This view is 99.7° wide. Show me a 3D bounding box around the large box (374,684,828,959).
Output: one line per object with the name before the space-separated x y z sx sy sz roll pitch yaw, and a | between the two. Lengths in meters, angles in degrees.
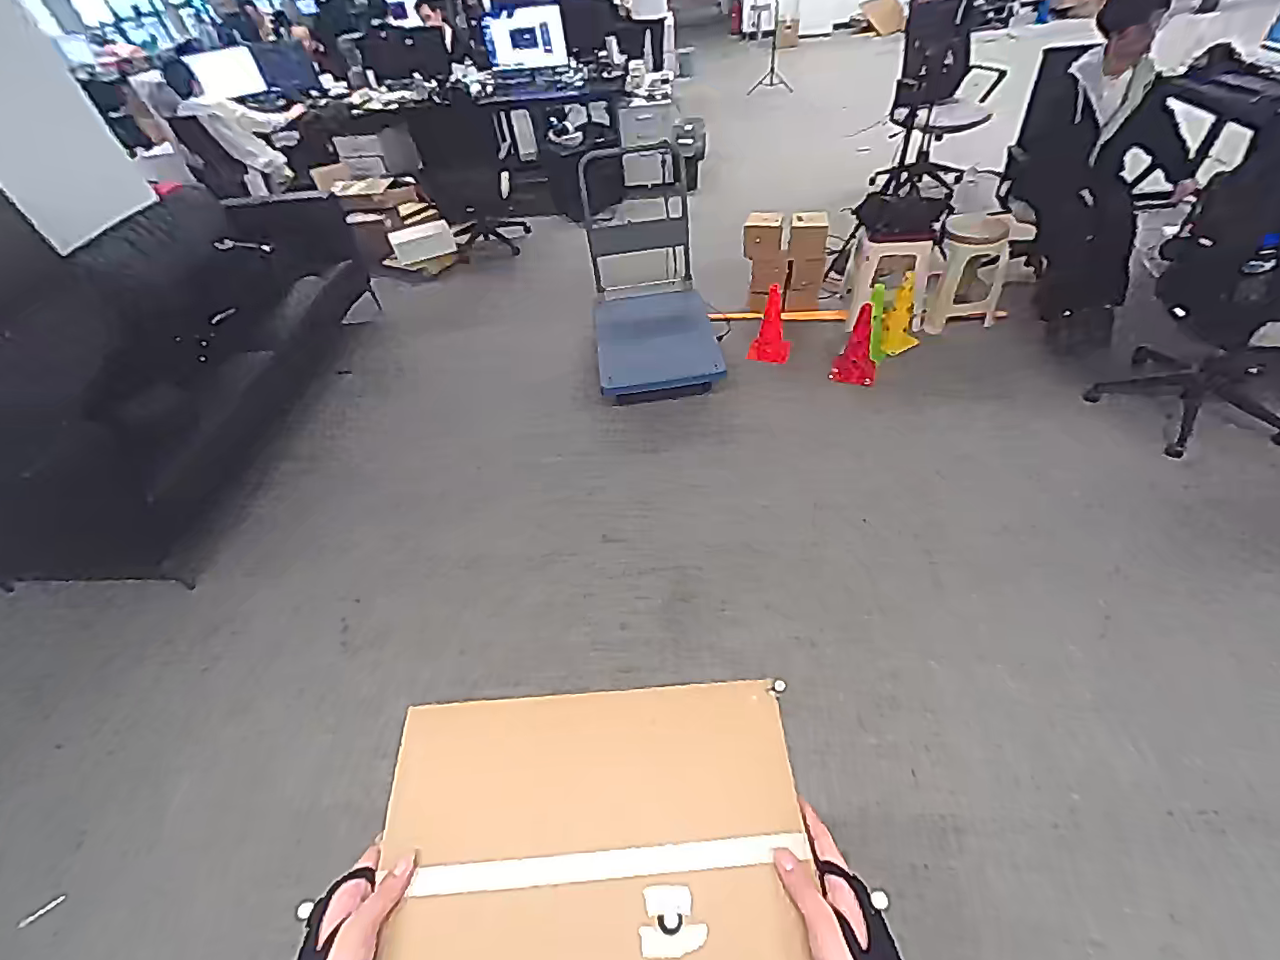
large box | -0.040 0.460 0.630 0.408 0.320 0.320 -4 52 -2
